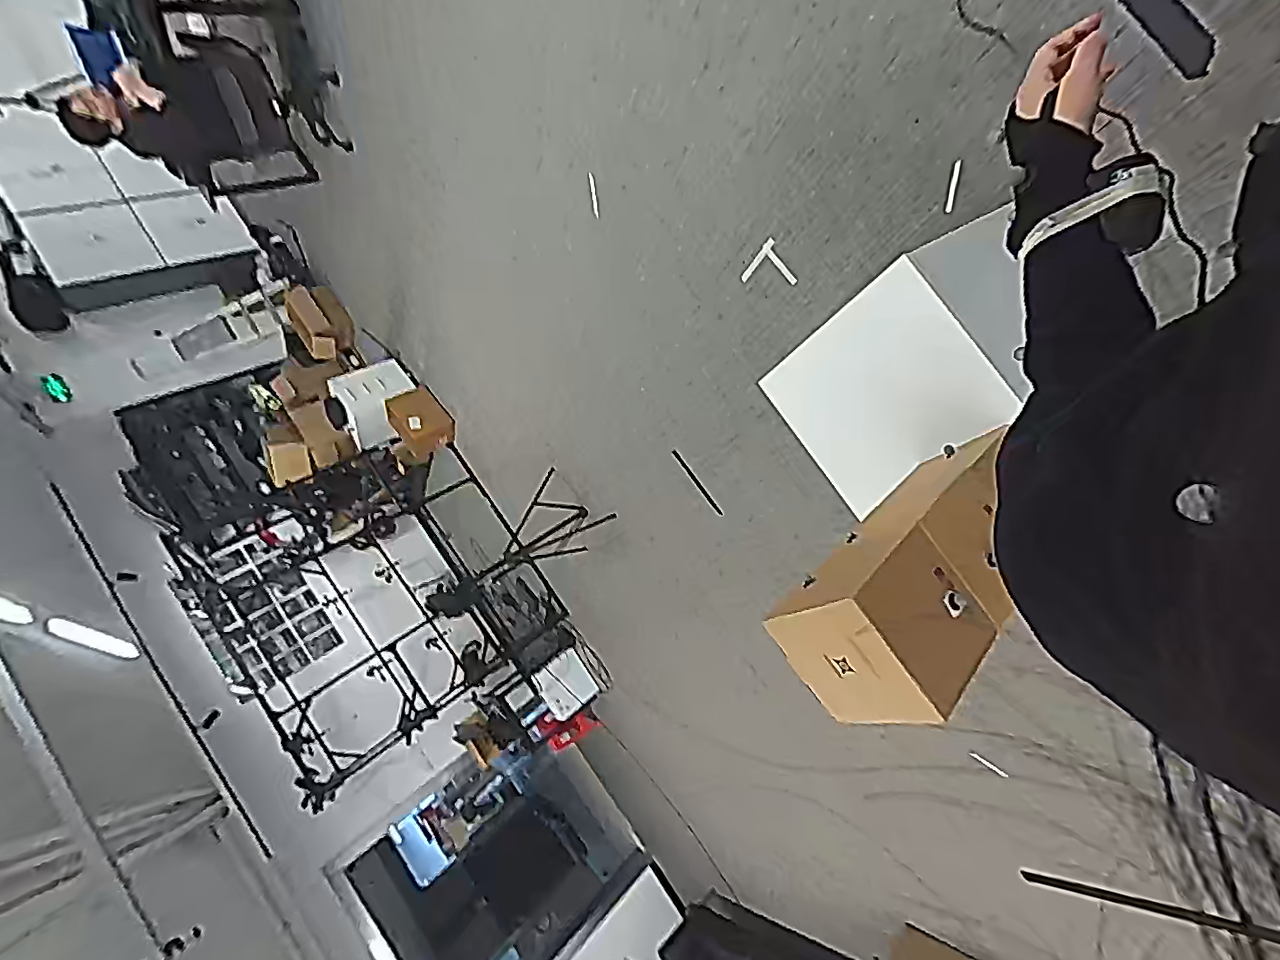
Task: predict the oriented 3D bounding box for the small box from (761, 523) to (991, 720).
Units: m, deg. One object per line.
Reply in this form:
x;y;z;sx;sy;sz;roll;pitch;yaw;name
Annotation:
0.299;0.182;0.693;0.168;0.176;0.179;53;147;5;small box

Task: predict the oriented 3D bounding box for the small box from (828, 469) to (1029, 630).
0.417;0.109;0.778;0.168;0.176;0.179;54;148;6;small box

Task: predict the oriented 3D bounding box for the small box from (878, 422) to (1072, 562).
0.534;0.036;0.866;0.168;0.176;0.179;55;149;5;small box
